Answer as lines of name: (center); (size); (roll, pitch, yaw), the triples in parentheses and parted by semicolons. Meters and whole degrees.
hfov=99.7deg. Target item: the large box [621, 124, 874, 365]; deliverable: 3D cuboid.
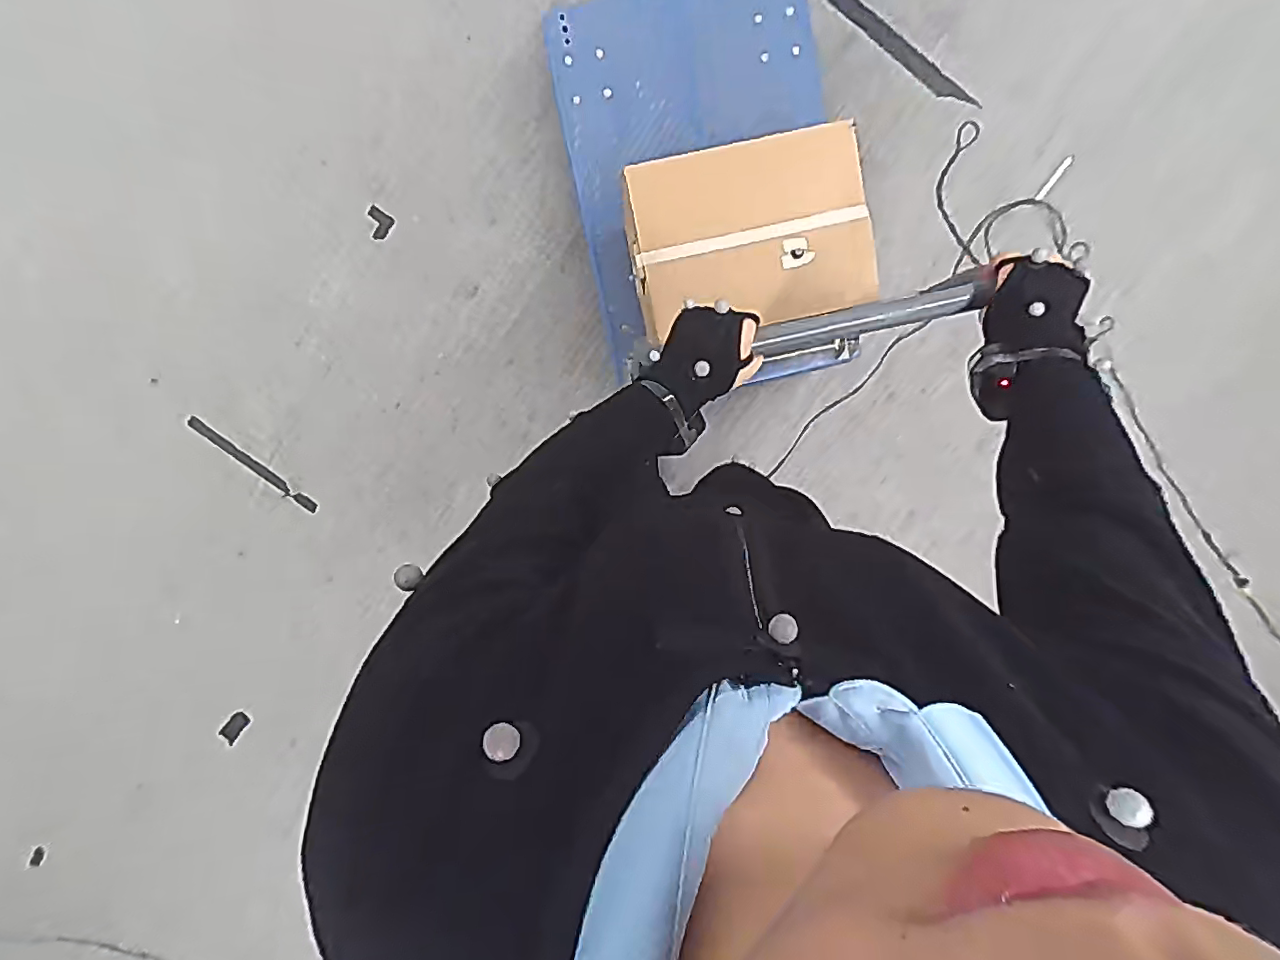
large box: (0.190, -0.440, 1.096); (0.408, 0.320, 0.320); (-12, 98, -1)
